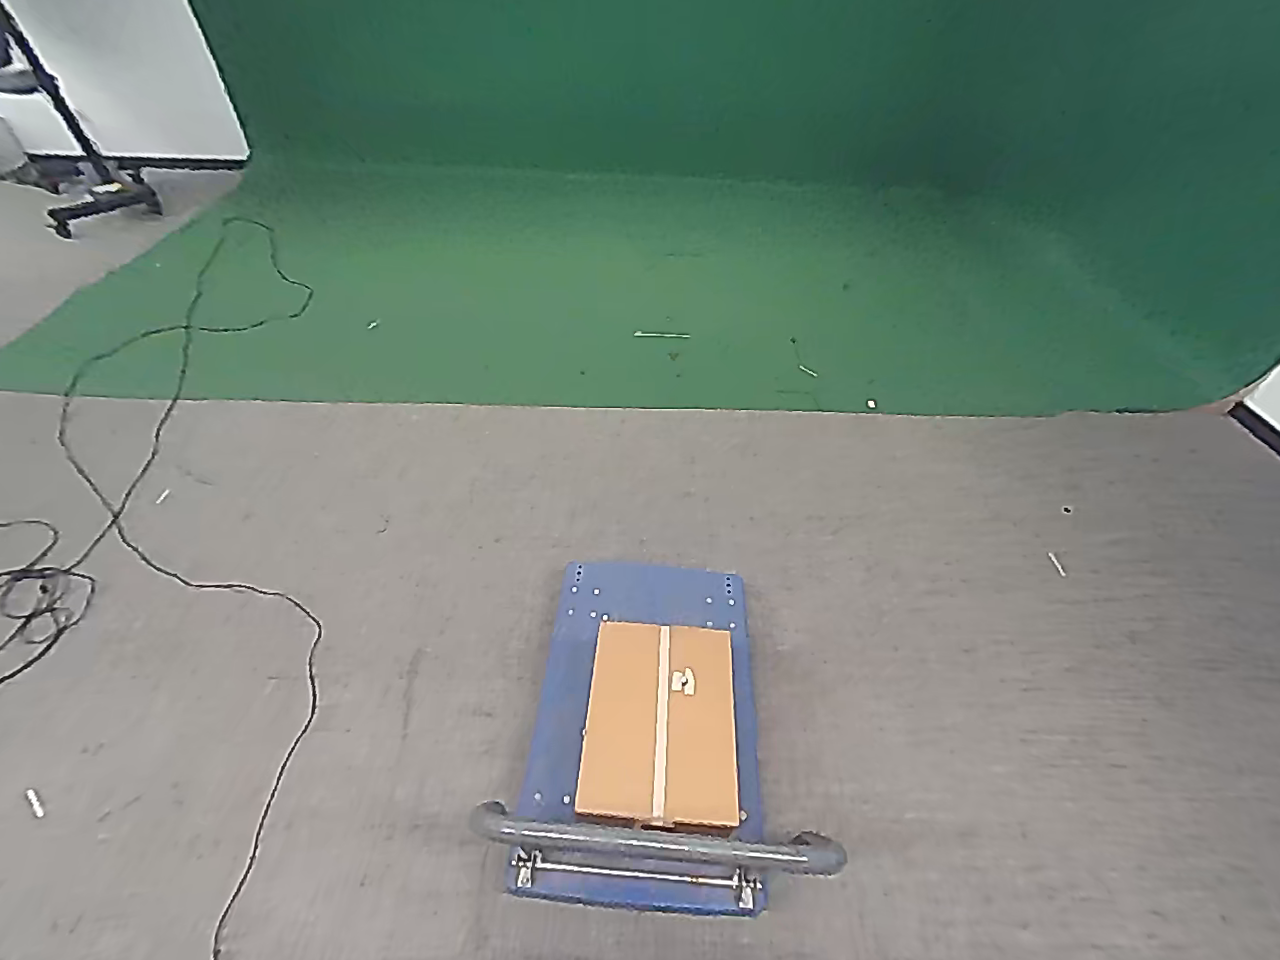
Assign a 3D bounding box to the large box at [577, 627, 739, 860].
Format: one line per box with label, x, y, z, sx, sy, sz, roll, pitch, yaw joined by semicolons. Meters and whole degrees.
large box;0.038;0.606;1.252;0.320;0.320;0.408;5;45;0
